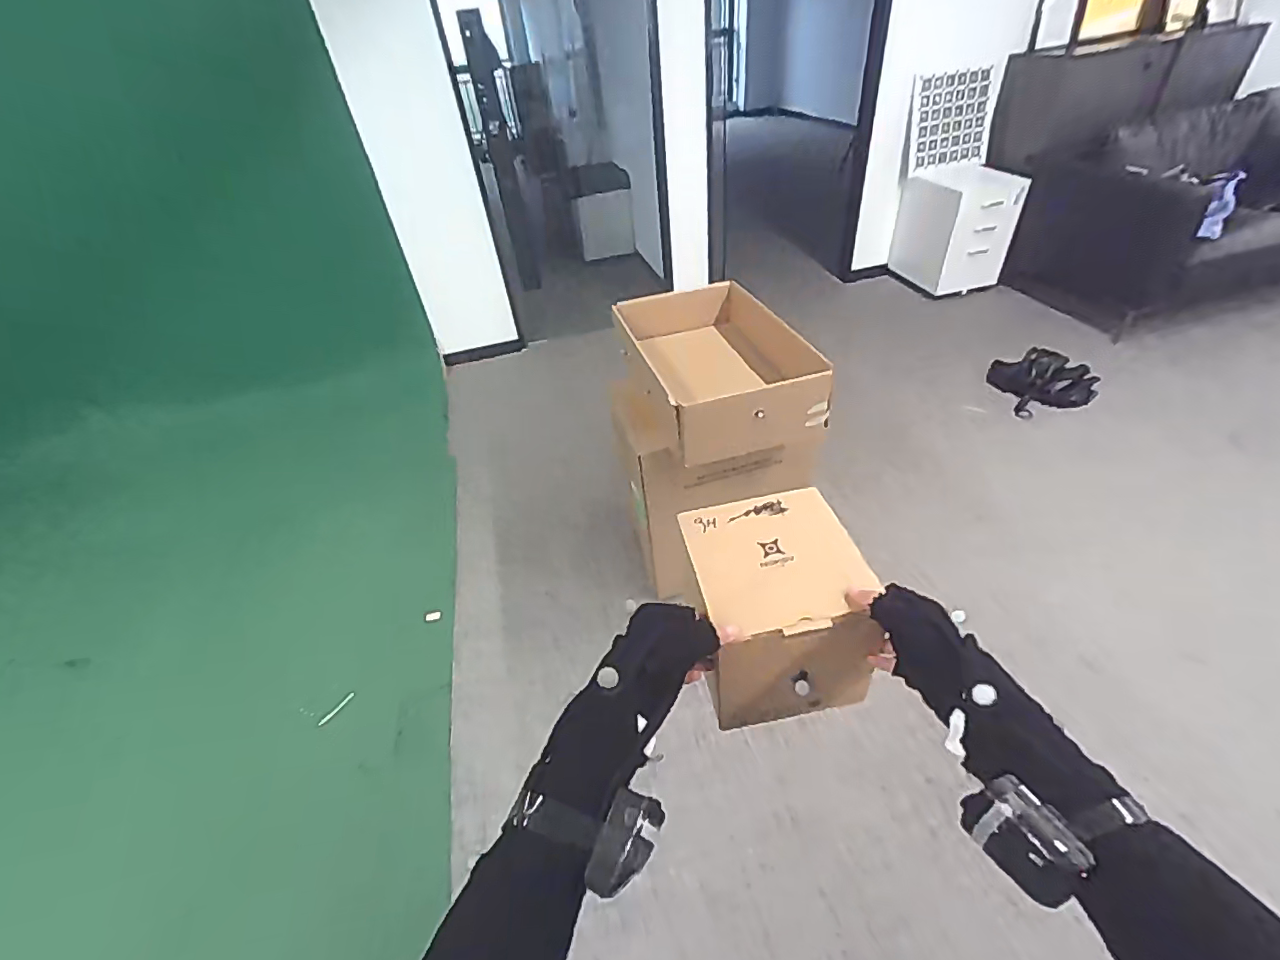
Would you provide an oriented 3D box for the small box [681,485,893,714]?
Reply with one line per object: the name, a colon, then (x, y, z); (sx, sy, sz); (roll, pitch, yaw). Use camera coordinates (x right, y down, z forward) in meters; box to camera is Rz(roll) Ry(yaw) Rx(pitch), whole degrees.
small box: (0.148, 0.136, 0.597); (0.168, 0.176, 0.179); (-12, 40, -3)
